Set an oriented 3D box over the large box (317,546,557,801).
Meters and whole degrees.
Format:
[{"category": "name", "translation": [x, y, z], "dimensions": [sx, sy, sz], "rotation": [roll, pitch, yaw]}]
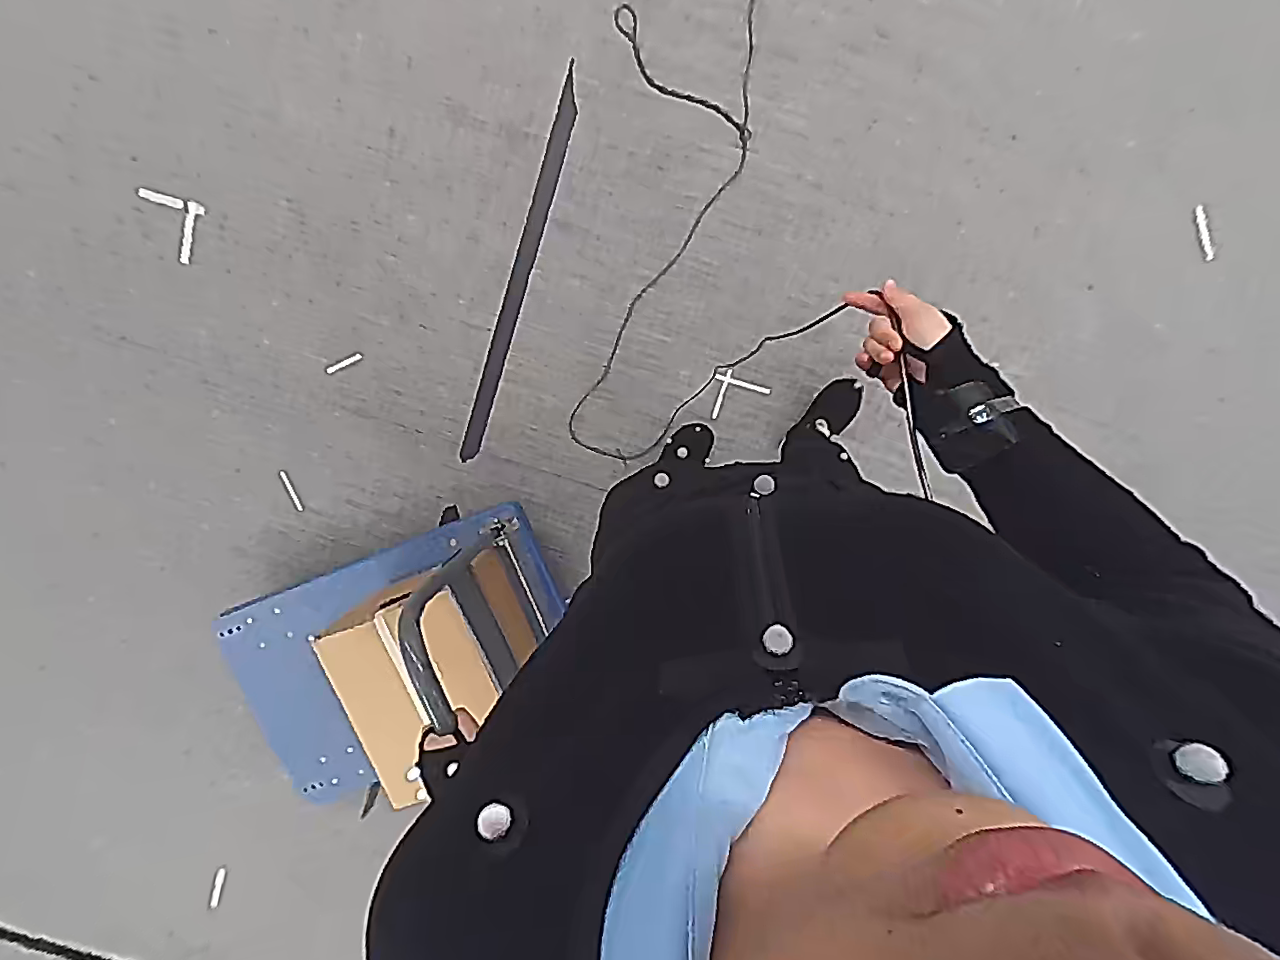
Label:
[{"category": "large box", "translation": [-0.430, 0.419, 1.244], "dimensions": [0.320, 0.320, 0.408], "rotation": [-21, 97, 4]}]
